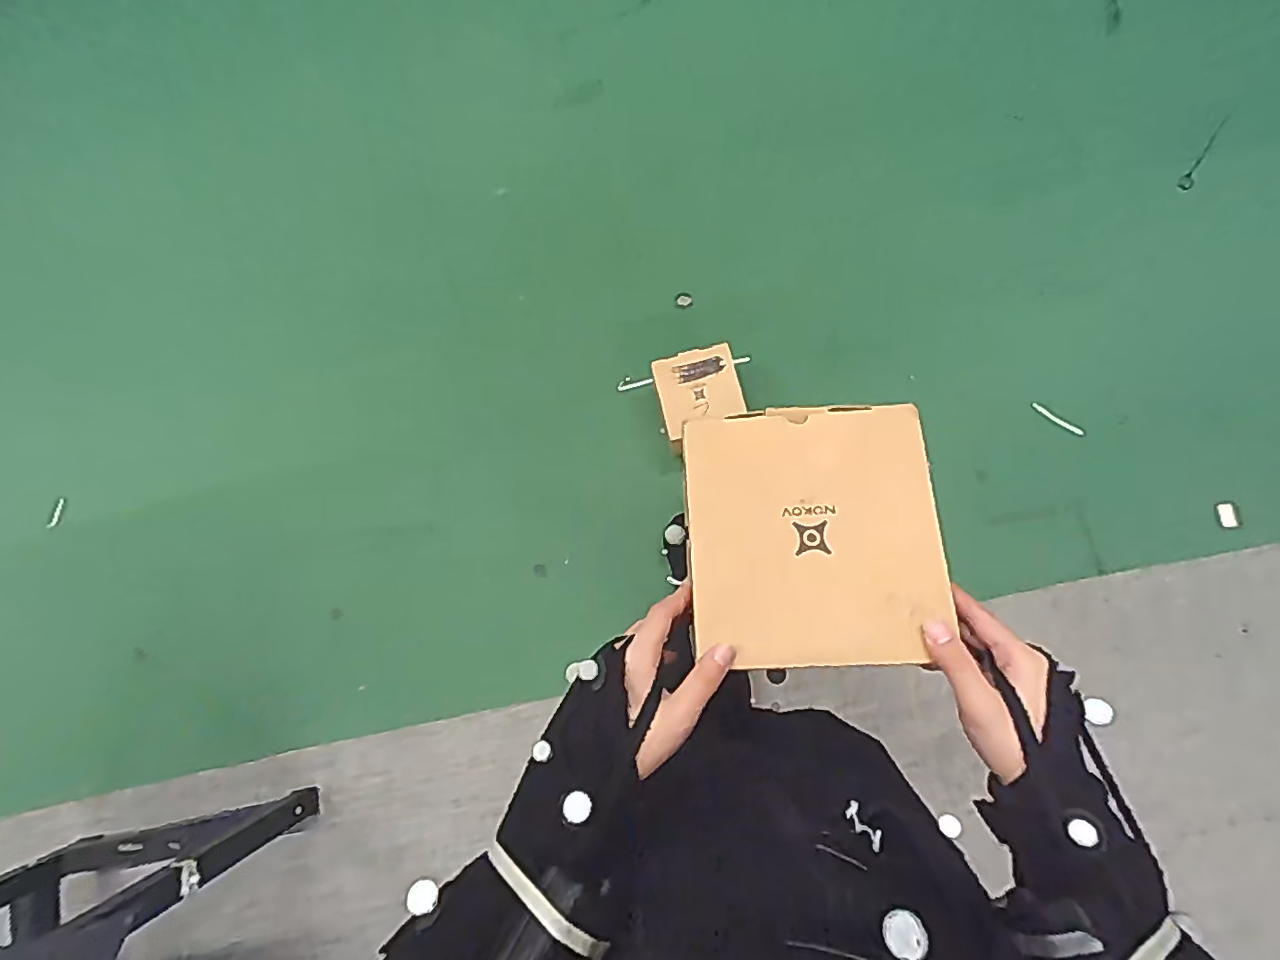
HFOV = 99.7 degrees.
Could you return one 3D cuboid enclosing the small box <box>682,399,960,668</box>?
[{"bbox_3d":[0.122,0.052,0.438,0.168,0.176,0.179,-3,74,4],"label":"small box"}]
